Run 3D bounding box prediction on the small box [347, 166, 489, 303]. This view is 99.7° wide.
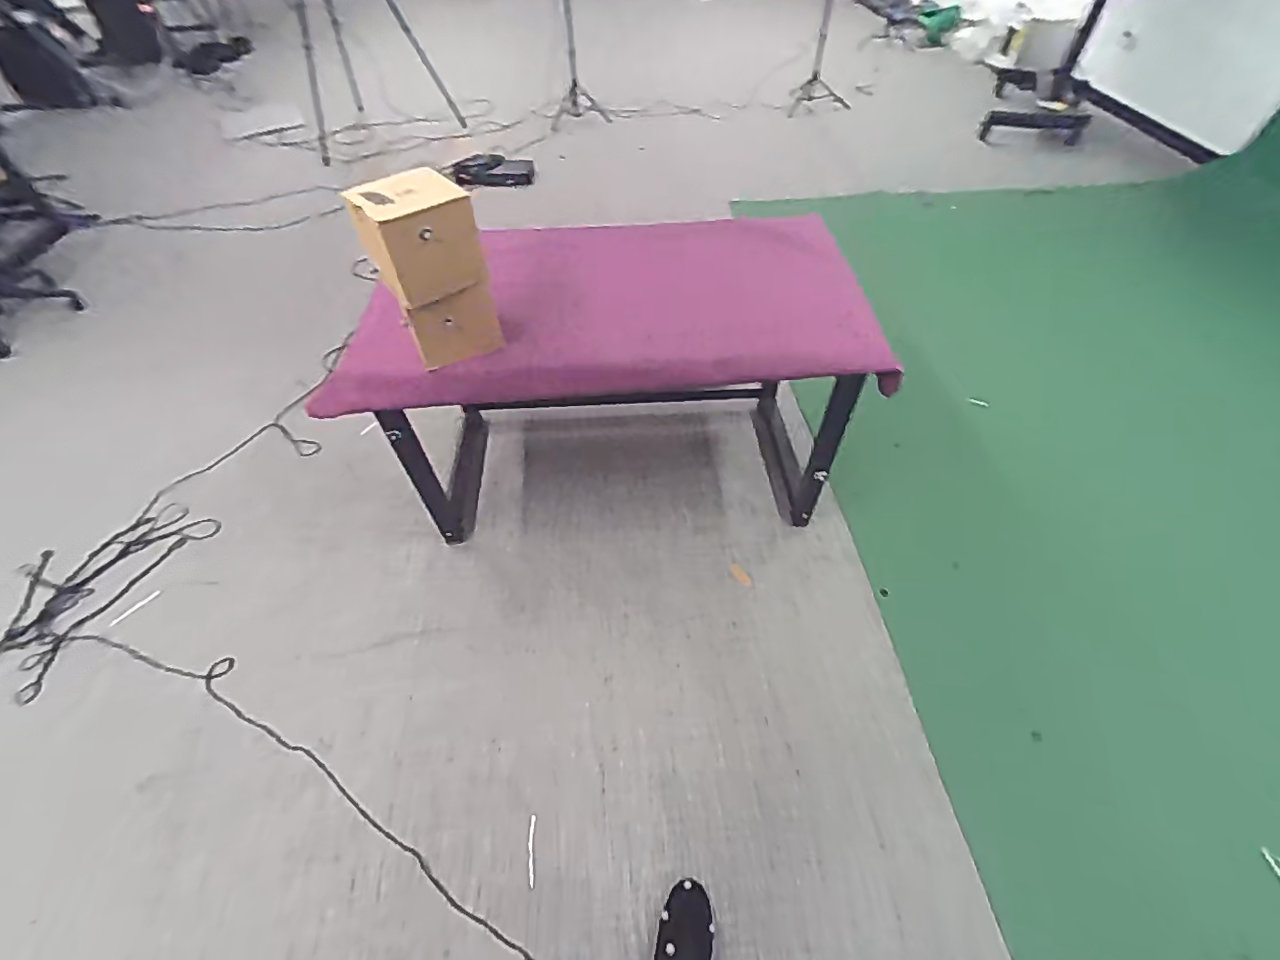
[{"bbox_3d":[-0.416,-0.468,1.035,0.179,0.176,0.168,-33,58,-24],"label":"small box"}]

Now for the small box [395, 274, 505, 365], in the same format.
[{"bbox_3d":[-0.413,-0.376,1.173,0.179,0.176,0.168,-23,55,-16],"label":"small box"}]
